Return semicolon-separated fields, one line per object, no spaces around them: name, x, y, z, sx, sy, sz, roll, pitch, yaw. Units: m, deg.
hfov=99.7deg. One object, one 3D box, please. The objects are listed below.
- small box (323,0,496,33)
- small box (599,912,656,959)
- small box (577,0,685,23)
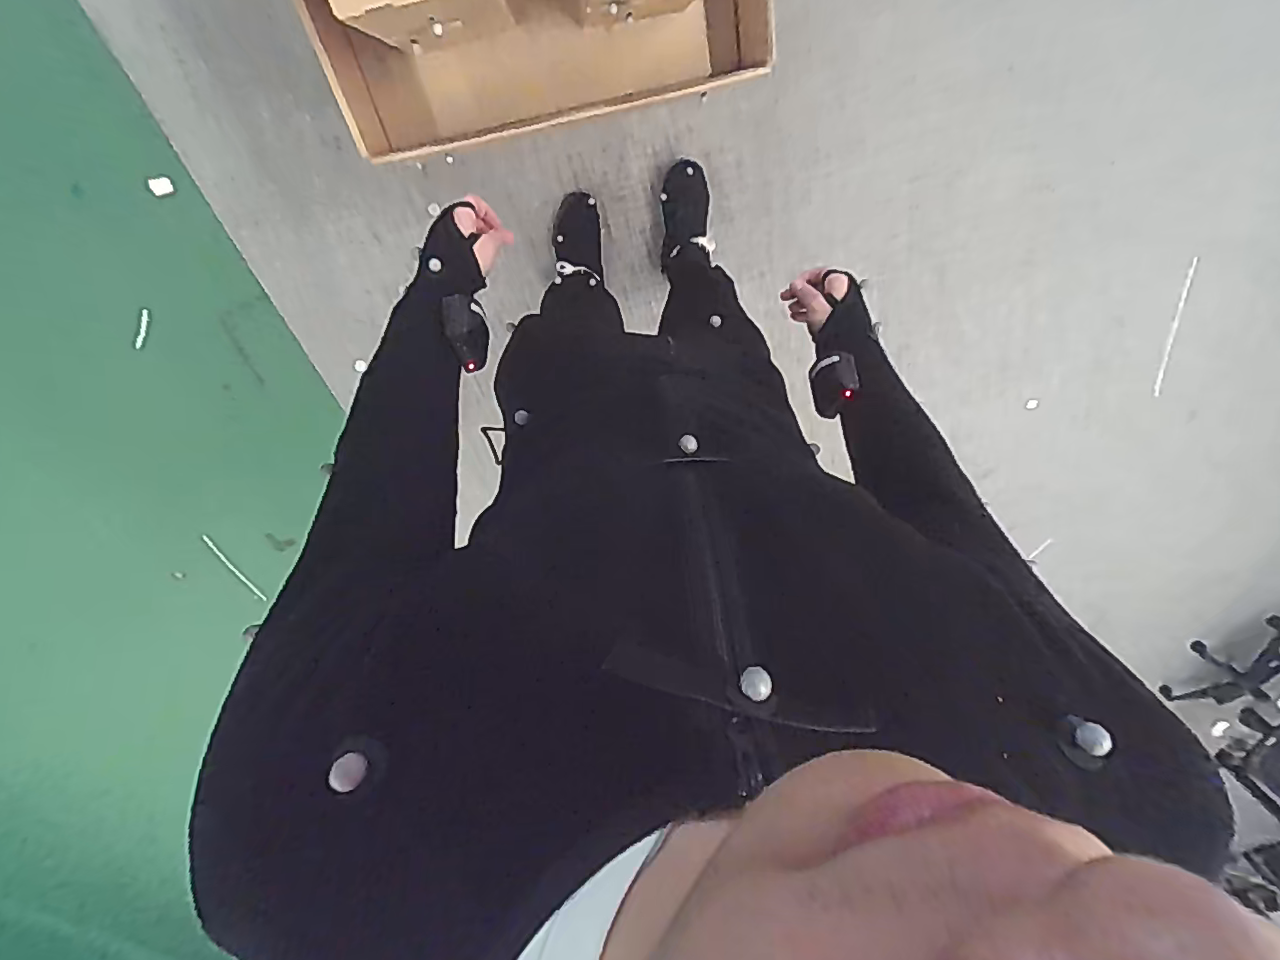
small box;-0.260;-0.601;0.560;0.168;0.176;0.179;-13;124;1
small box;-0.040;1.661;1.904;0.168;0.176;0.179;-17;124;3
small box;-0.016;-0.734;0.706;0.168;0.176;0.179;-12;125;0
